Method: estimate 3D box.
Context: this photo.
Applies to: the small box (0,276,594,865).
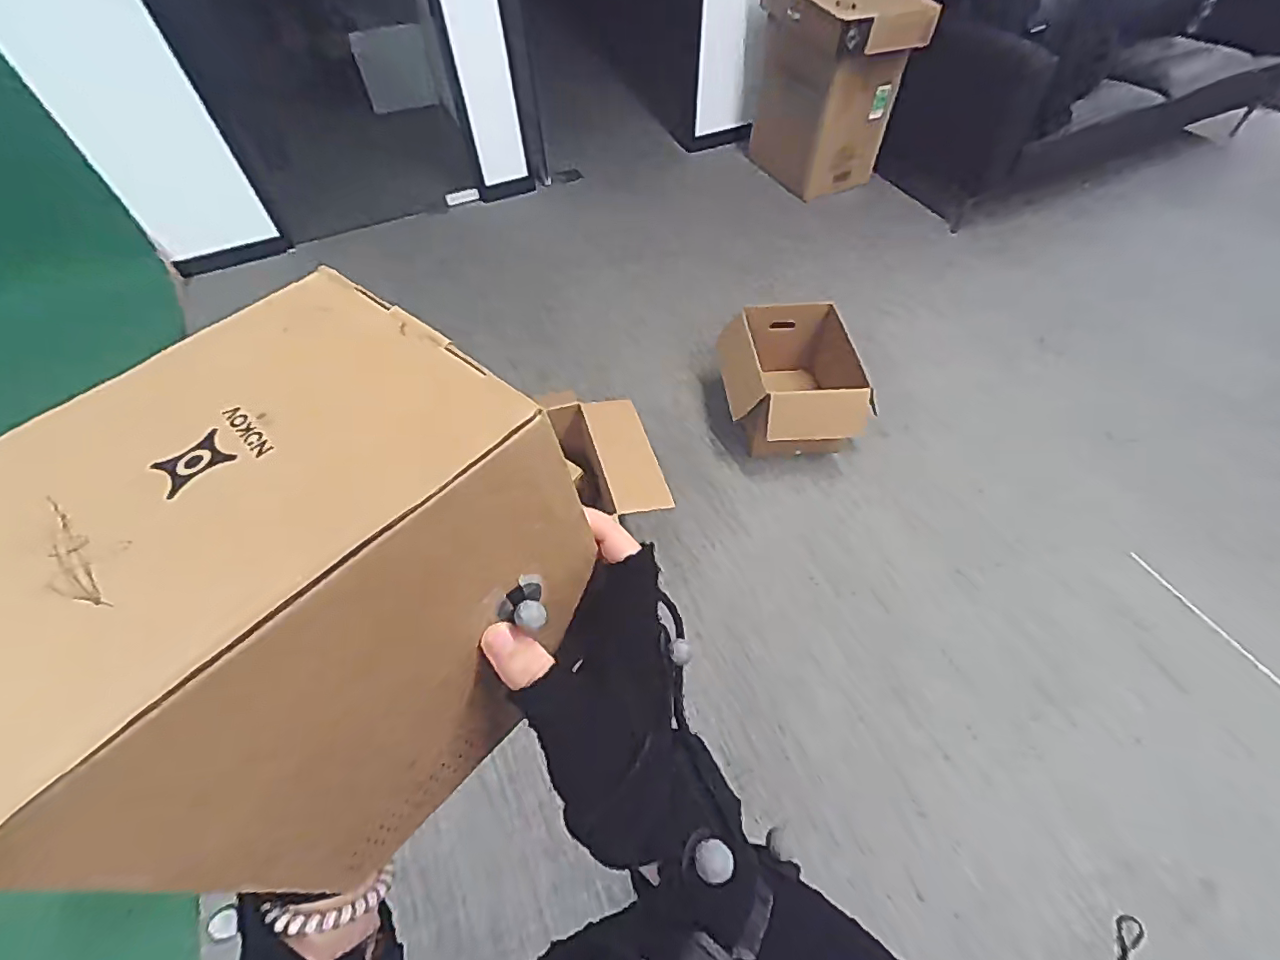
[{"bbox_3d":[-0.139,0.041,0.258,0.168,0.176,0.179,34,65,30],"label":"small box"}]
